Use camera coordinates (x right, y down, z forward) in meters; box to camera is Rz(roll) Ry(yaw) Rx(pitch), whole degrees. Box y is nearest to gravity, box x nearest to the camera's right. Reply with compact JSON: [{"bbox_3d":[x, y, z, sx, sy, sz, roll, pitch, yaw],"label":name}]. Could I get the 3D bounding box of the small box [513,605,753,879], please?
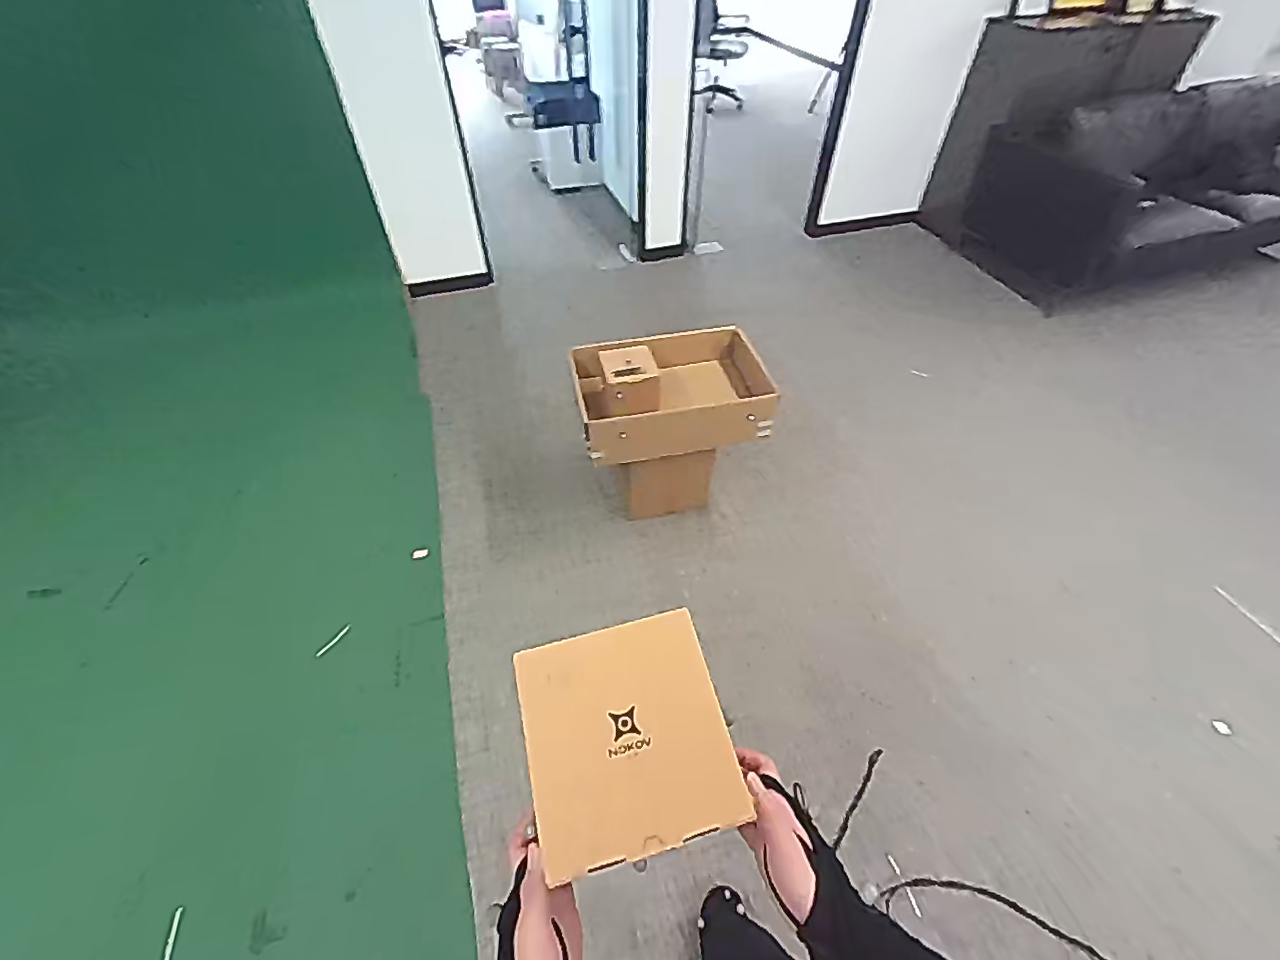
[{"bbox_3d":[-0.015,0.243,0.505,0.168,0.176,0.179,-12,58,-9],"label":"small box"}]
